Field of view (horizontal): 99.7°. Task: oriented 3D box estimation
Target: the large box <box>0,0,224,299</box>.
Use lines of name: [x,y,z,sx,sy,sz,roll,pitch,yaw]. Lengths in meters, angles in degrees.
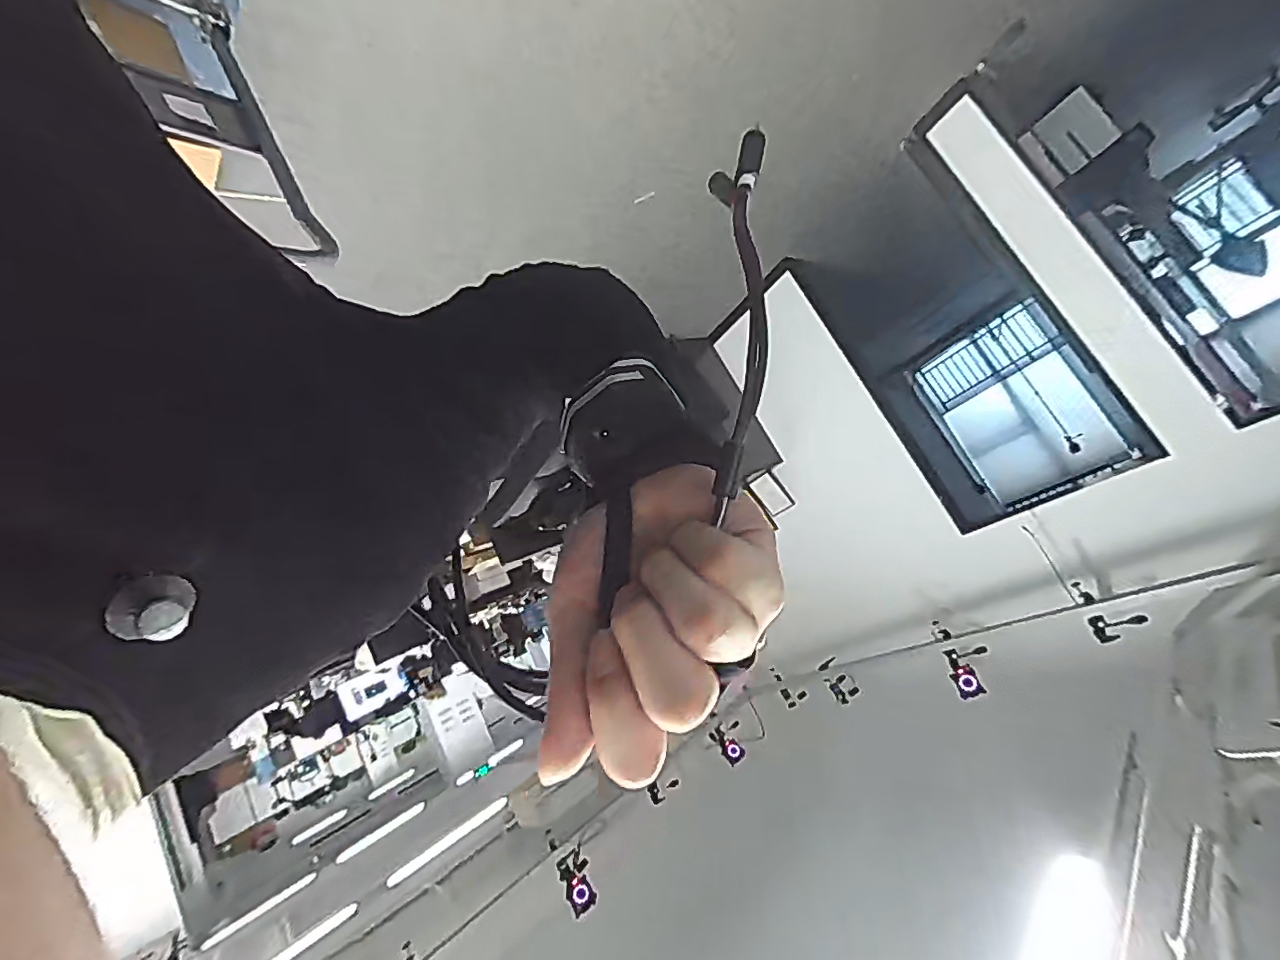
large box: [-1.013,-0.593,0.972,0.408,0.320,0.320,-37,166,37]
